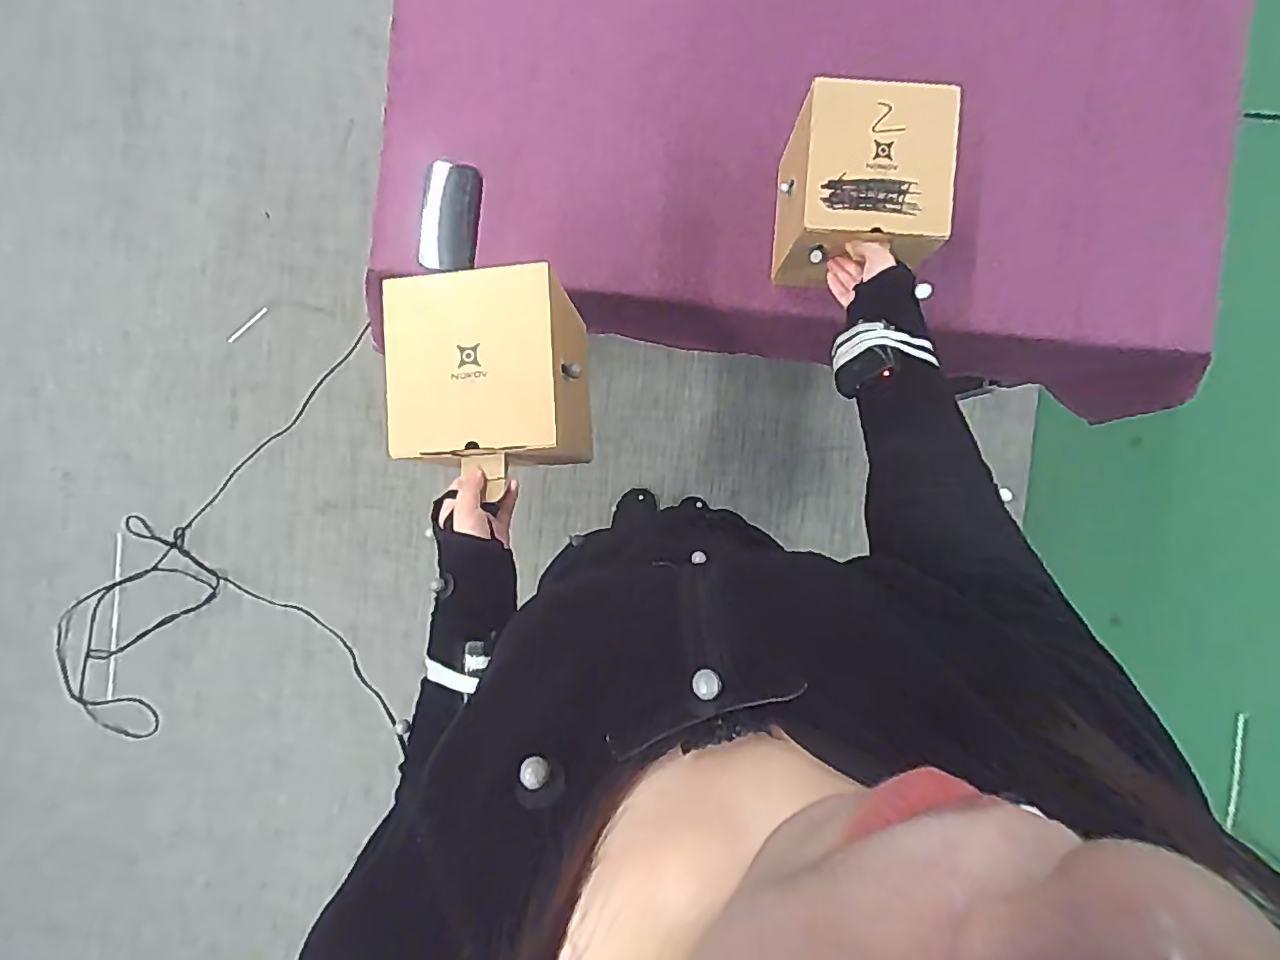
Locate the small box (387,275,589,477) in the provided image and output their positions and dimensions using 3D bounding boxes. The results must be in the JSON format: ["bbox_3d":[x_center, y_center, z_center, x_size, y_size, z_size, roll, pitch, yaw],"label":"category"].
[{"bbox_3d":[-0.152,-0.099,0.588,0.168,0.176,0.179,-3,87,5],"label":"small box"}]
